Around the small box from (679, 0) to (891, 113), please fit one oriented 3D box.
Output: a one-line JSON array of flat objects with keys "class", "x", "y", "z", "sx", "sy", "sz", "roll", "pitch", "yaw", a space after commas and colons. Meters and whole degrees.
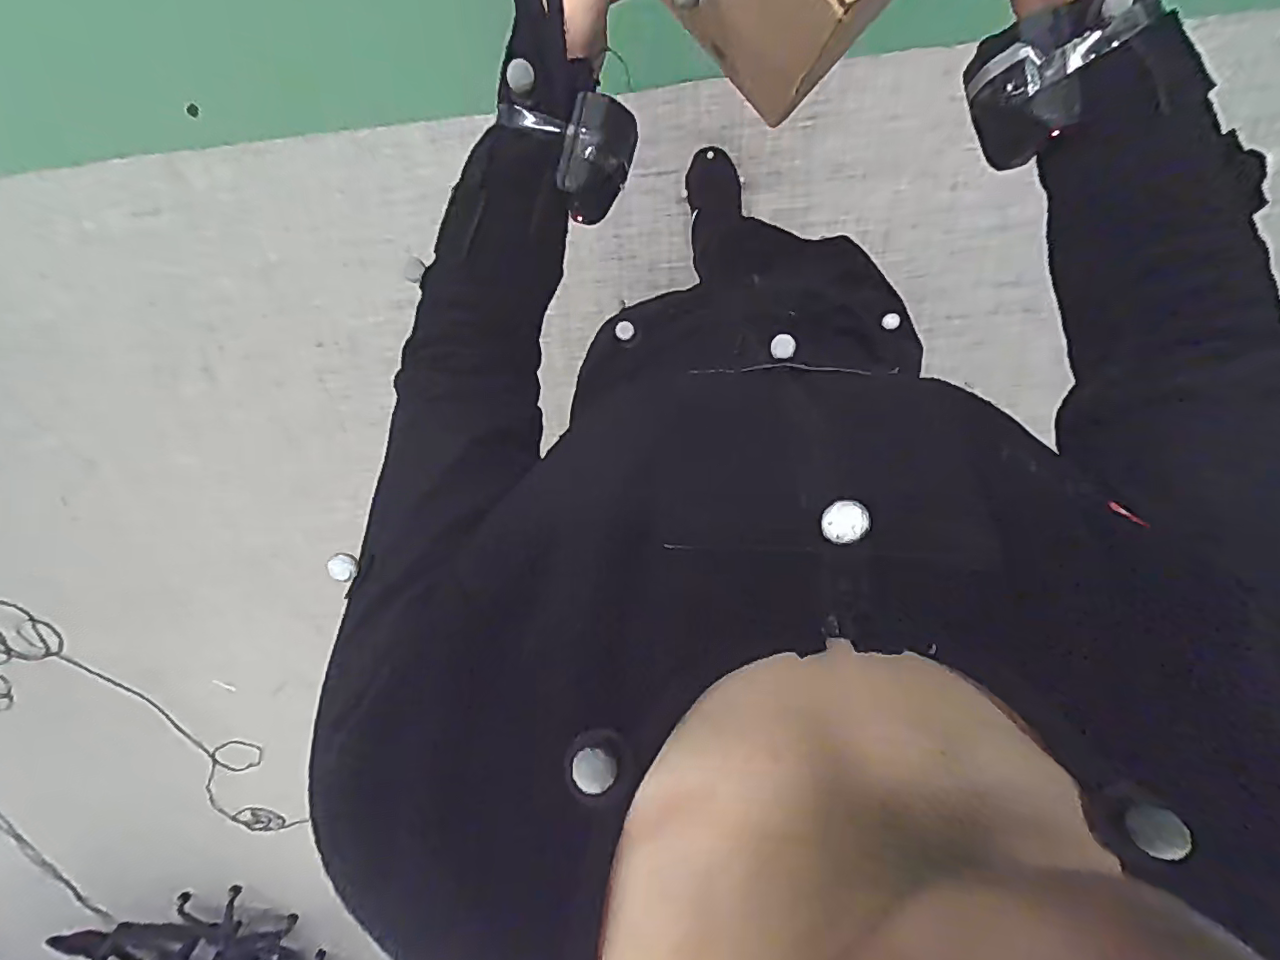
[{"class": "small box", "x": 0.094, "y": -0.342, "z": 0.281, "sx": 0.168, "sy": 0.176, "sz": 0.179, "roll": 43, "pitch": 107, "yaw": -10}]
